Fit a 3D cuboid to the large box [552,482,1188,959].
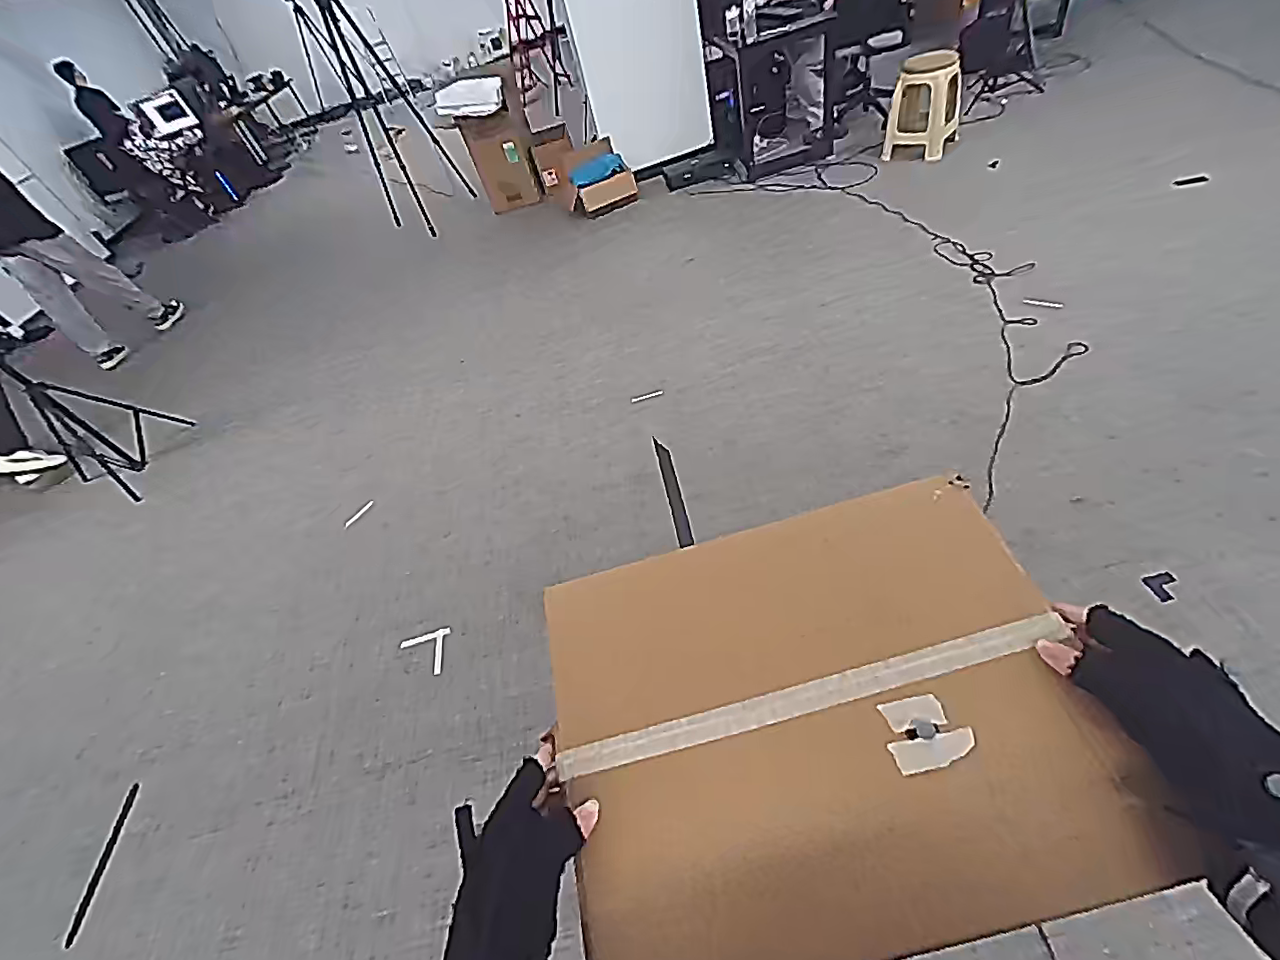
[{"bbox_3d":[0.161,0.261,0.558,0.408,0.320,0.320,-17,54,2],"label":"large box"}]
